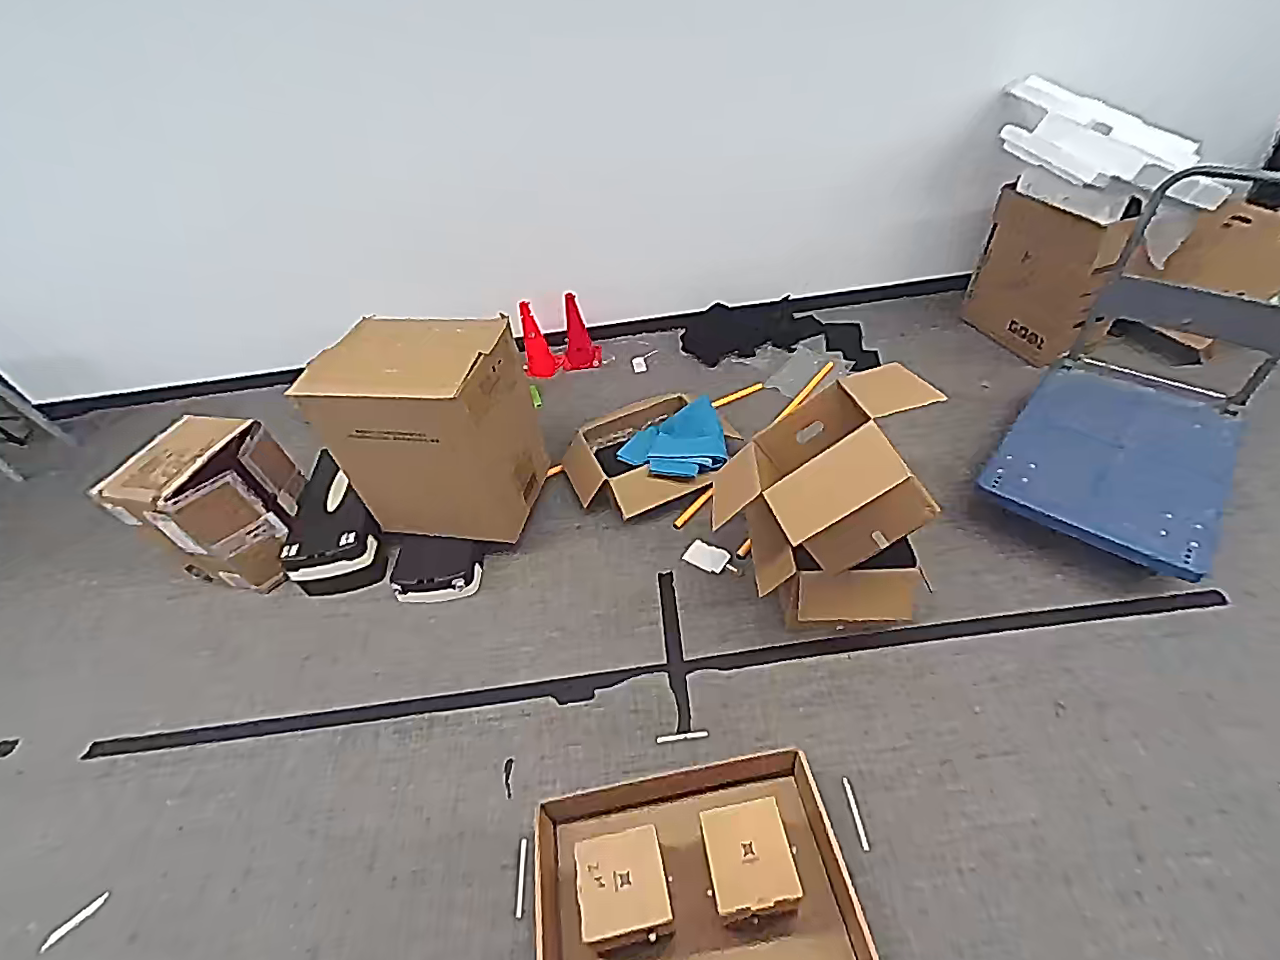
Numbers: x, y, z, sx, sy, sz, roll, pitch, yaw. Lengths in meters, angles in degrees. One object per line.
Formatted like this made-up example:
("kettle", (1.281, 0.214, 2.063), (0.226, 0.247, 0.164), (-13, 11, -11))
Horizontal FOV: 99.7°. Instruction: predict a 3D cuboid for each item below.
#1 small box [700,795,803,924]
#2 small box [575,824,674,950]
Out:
("small box", (0.225, 0.795, 1.133), (0.168, 0.176, 0.179), (-11, 45, -2))
("small box", (-0.030, 0.843, 1.120), (0.179, 0.176, 0.168), (-11, 44, -4))
